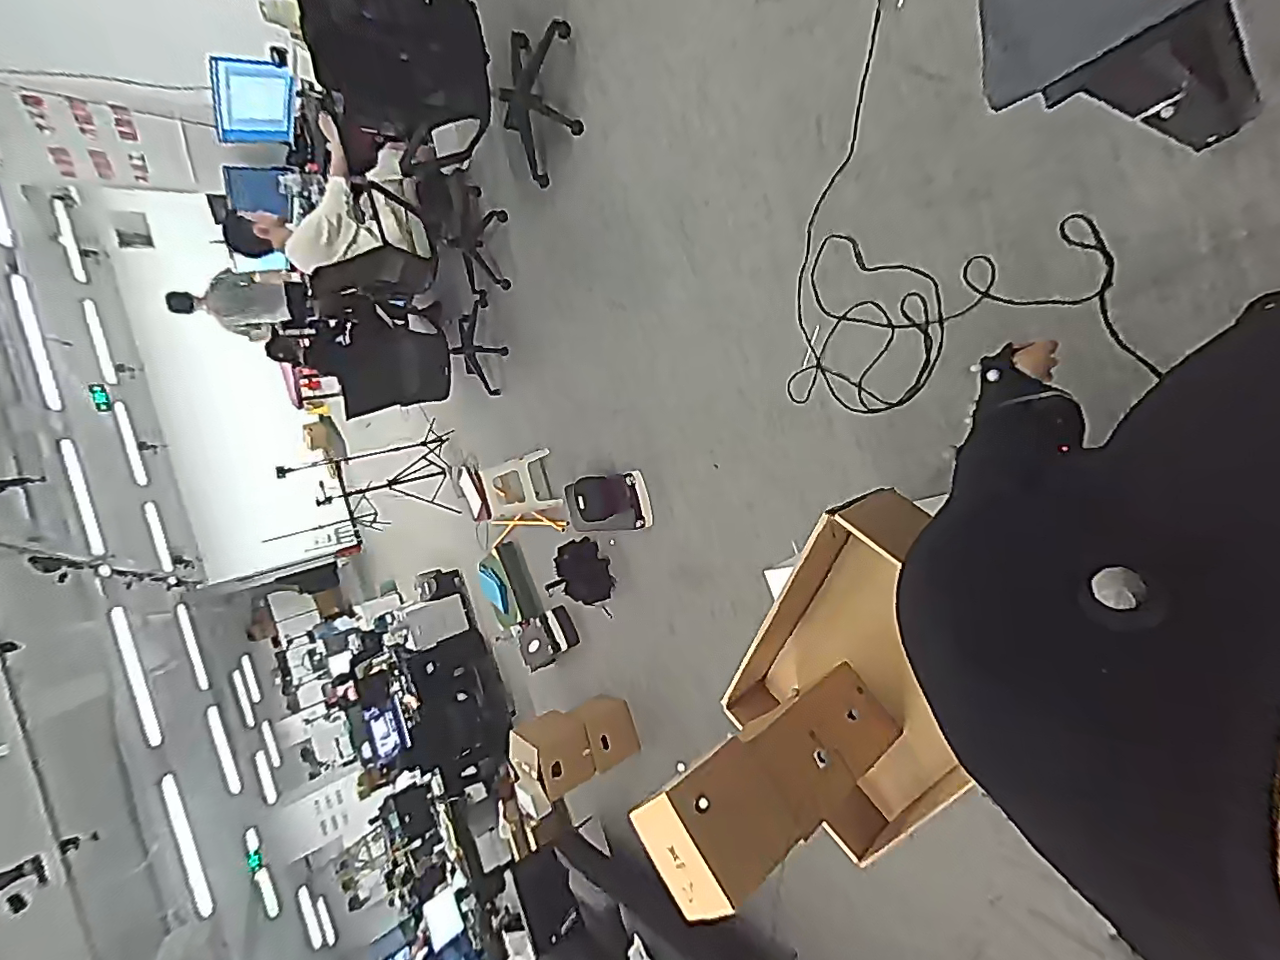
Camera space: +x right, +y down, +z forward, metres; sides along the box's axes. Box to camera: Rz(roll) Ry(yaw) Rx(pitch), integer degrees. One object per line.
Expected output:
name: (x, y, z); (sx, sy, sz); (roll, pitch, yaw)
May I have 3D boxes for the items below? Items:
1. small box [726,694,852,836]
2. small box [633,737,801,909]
small box: (0.249, 0.527, 0.995); (0.168, 0.176, 0.179); (54, 139, 20)
small box: (0.124, 0.552, 0.889); (0.179, 0.176, 0.168); (52, 140, 23)
